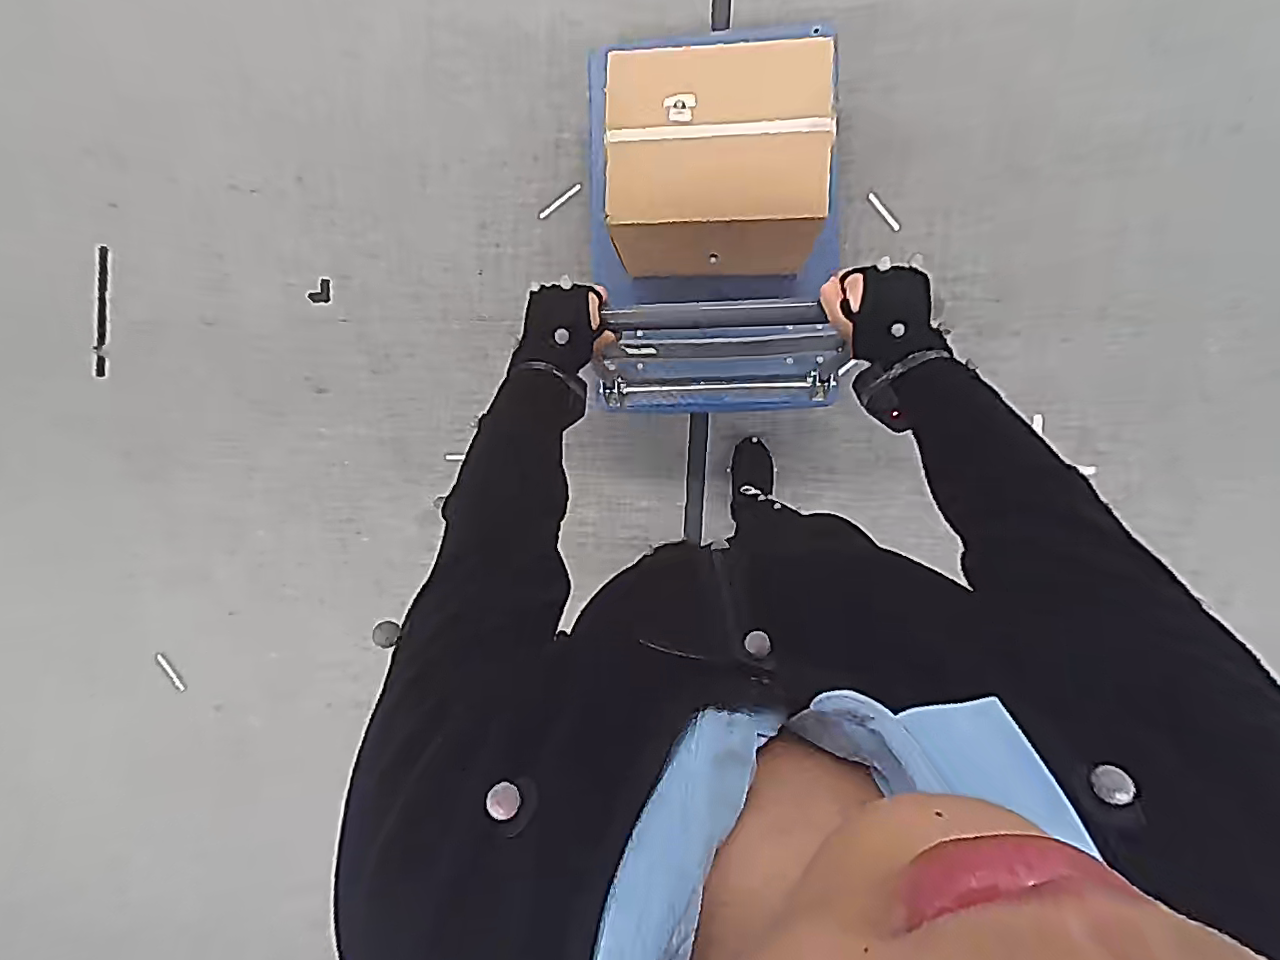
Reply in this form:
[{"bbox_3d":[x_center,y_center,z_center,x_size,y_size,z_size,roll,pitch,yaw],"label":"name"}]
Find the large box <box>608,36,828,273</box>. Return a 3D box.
[{"bbox_3d":[0.159,-0.644,1.136,0.408,0.320,0.320,1,92,7],"label":"large box"}]
